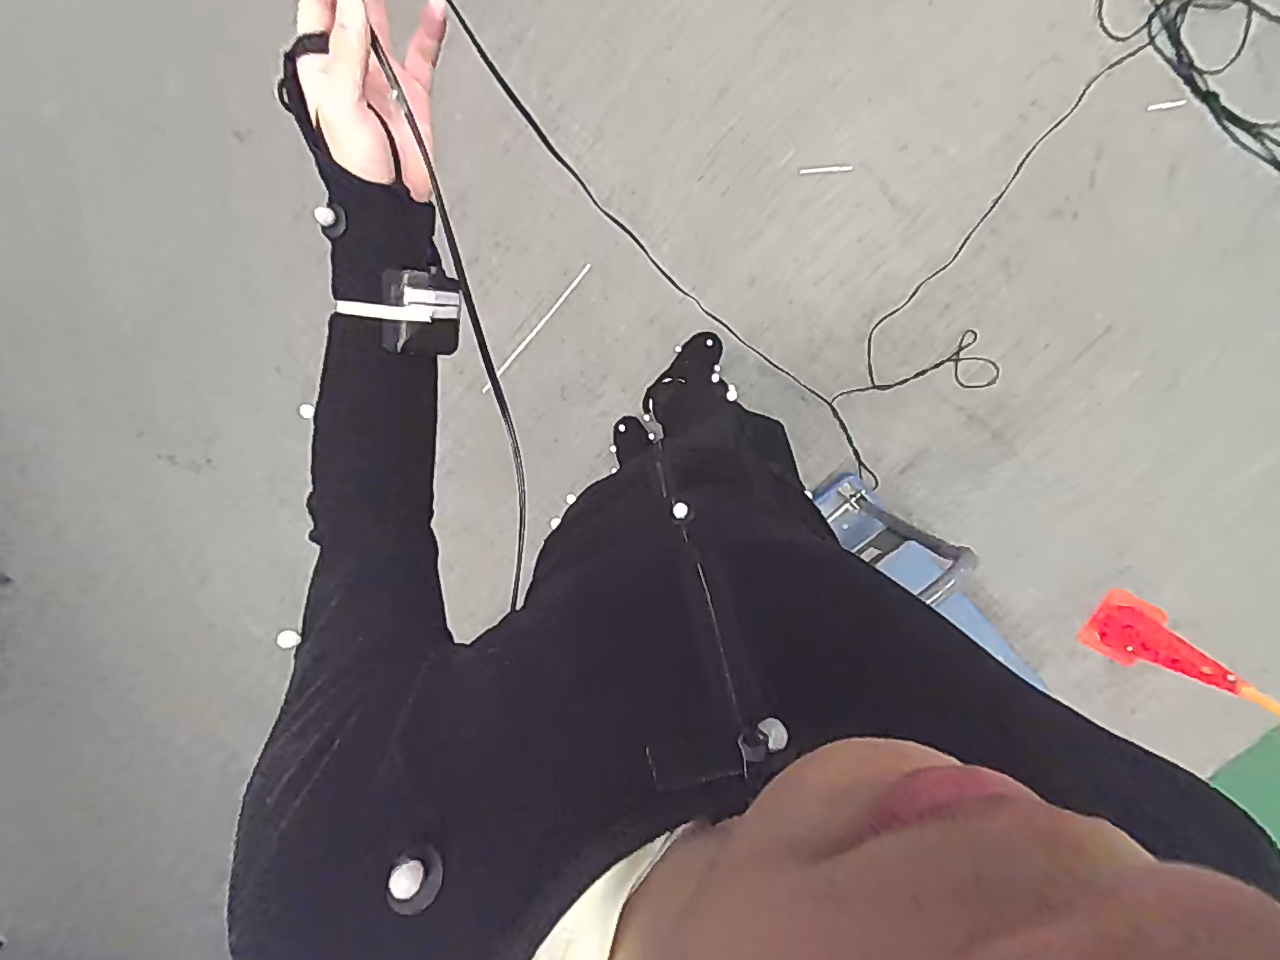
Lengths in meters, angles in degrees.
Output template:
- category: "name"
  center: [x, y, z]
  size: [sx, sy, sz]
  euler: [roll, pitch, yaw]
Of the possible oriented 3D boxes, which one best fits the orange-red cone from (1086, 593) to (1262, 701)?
- category: "orange-red cone"
  center: [1.472, 0.483, 1.464]
  size: [0.198, 0.360, 0.199]
  euler: [28, 98, -3]
